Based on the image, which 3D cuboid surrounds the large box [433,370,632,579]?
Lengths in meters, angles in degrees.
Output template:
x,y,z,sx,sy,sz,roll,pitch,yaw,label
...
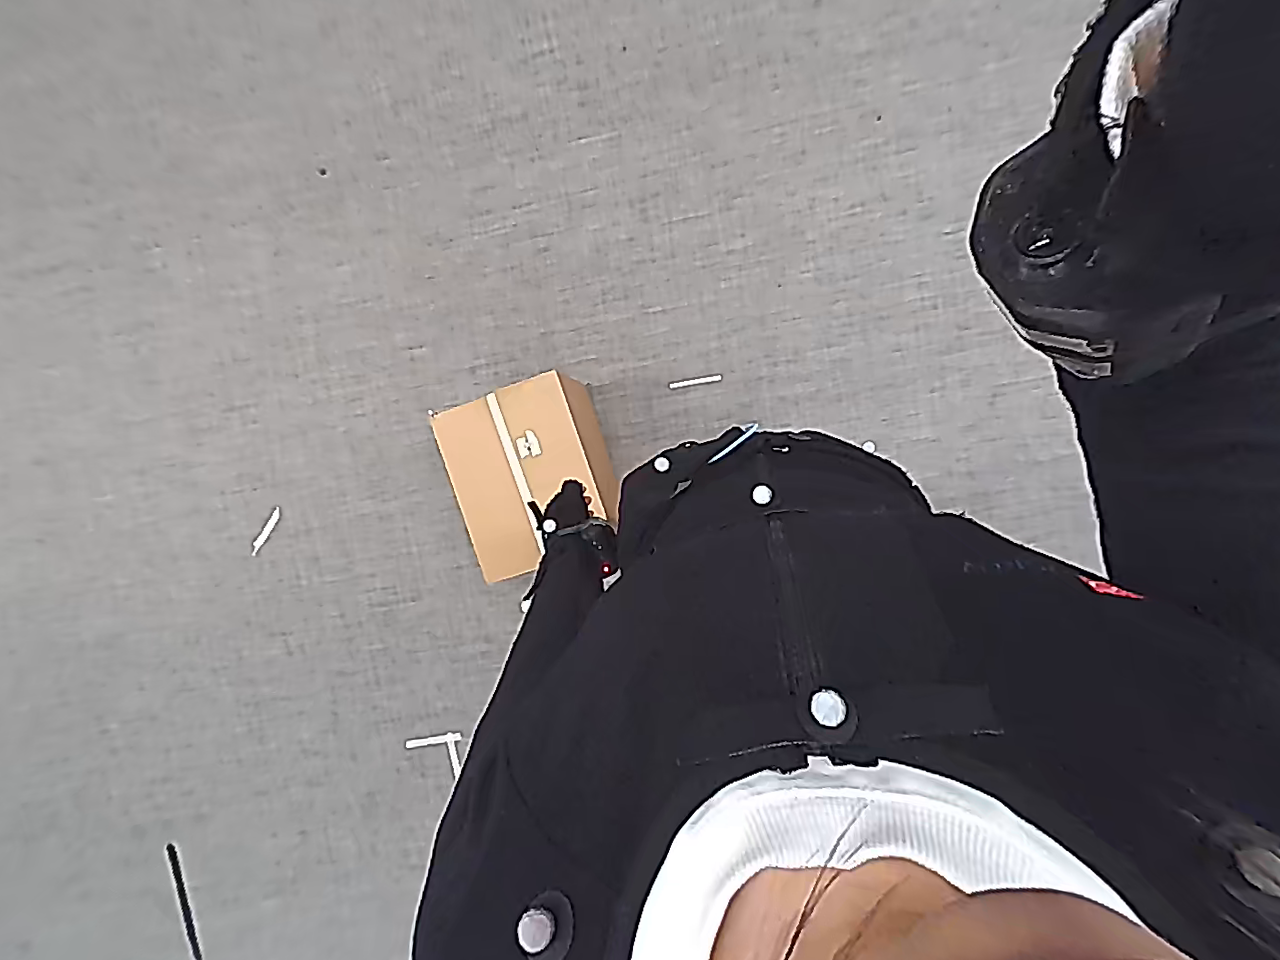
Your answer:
x,y,z,sx,sy,sz,roll,pitch,yaw,label
-0.244,-0.014,1.351,0.320,0.320,0.408,-19,90,6,large box
